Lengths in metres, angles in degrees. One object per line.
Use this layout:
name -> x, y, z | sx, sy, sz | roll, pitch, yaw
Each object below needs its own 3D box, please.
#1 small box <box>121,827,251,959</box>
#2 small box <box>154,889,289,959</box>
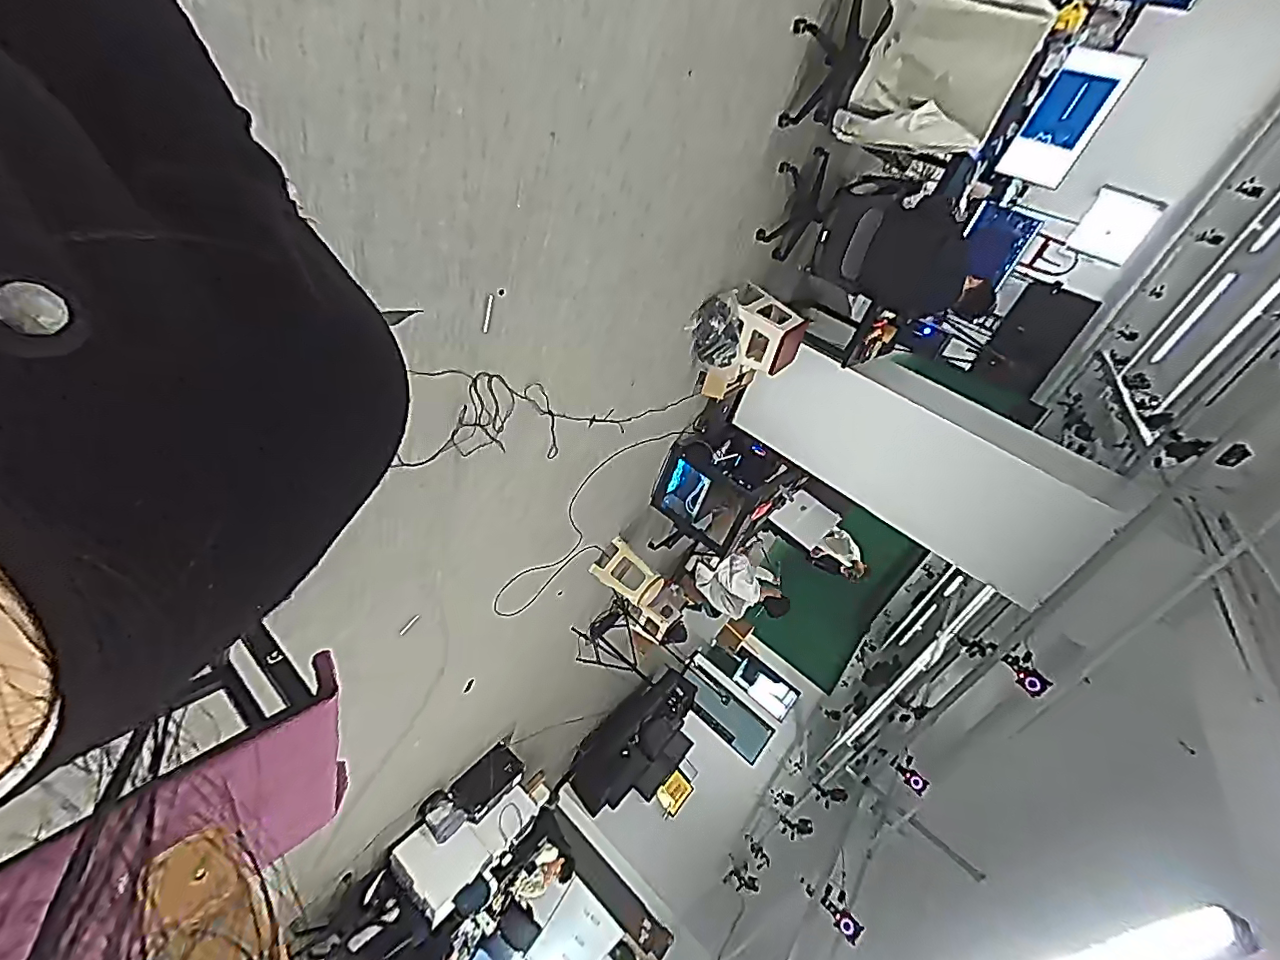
small box -> -0.958, 0.887, 1.149 | 0.168, 0.176, 0.179 | -24, 144, -50
small box -> -0.837, 0.982, 1.091 | 0.168, 0.176, 0.179 | -25, 145, -50
